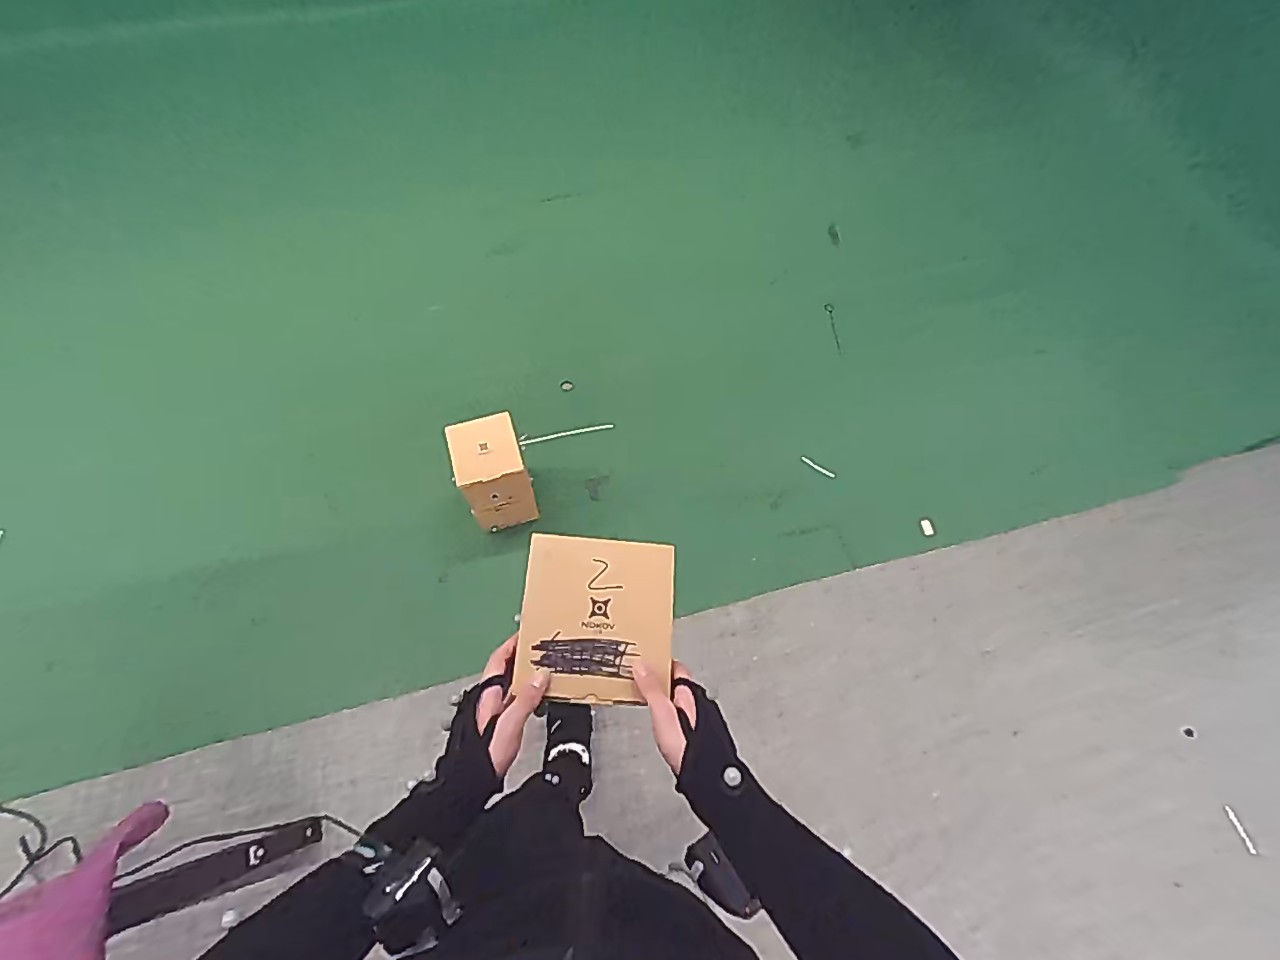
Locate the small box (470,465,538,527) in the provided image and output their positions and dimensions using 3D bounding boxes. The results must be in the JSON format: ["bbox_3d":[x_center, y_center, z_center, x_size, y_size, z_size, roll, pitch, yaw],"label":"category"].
[{"bbox_3d":[-0.400,0.023,1.562,0.168,0.176,0.179,-15,68,-10],"label":"small box"}]

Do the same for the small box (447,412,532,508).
[{"bbox_3d":[-0.390,-0.049,1.417,0.168,0.176,0.179,-16,69,-10],"label":"small box"}]
